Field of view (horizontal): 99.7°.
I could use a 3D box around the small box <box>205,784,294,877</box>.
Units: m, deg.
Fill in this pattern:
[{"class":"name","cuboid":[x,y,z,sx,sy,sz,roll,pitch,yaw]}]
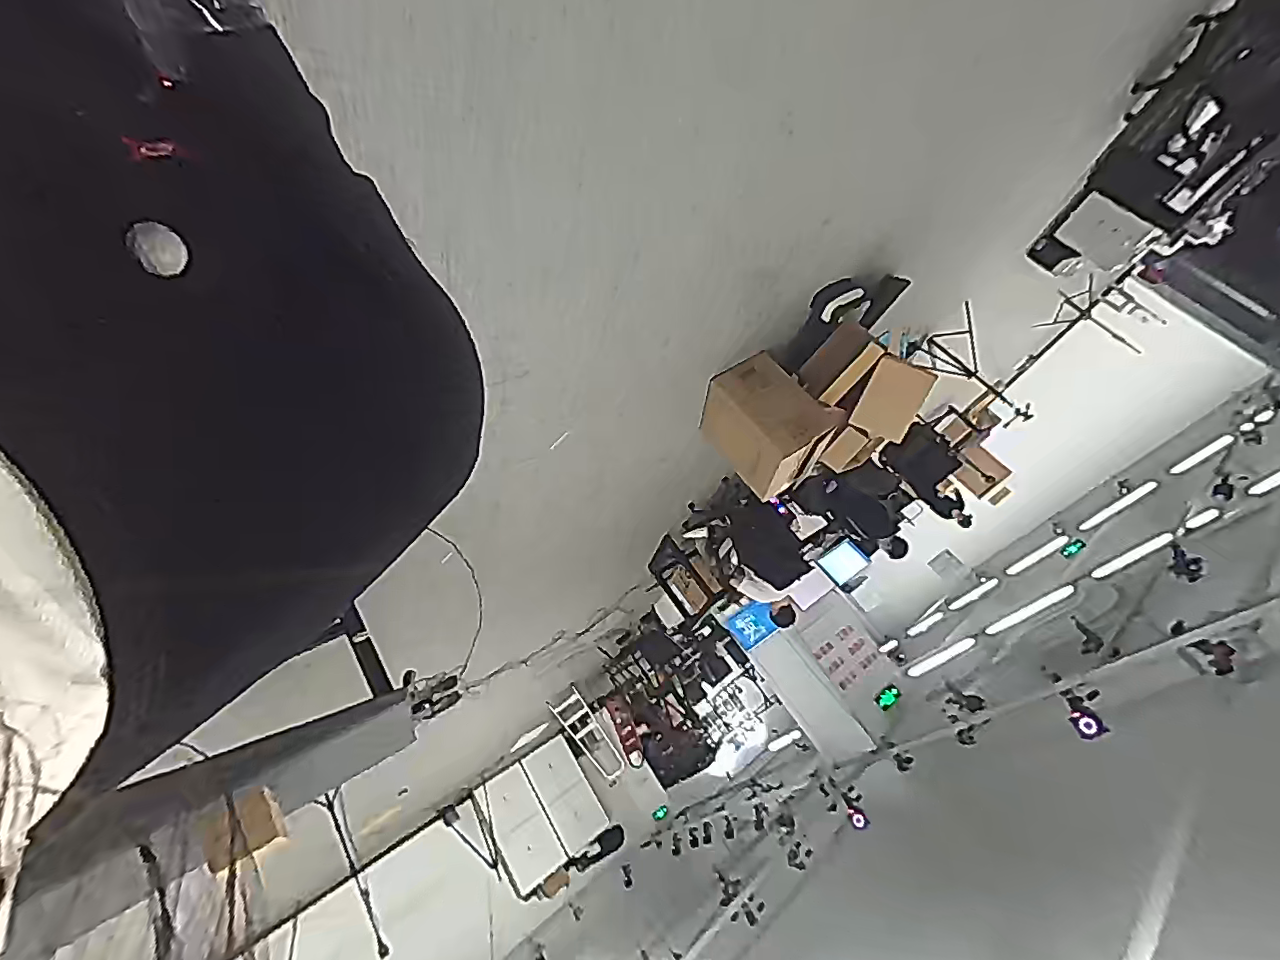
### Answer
[{"class":"small box","cuboid":[-1.214,1.085,1.677,0.179,0.176,0.168,-24,156,-33]}]
